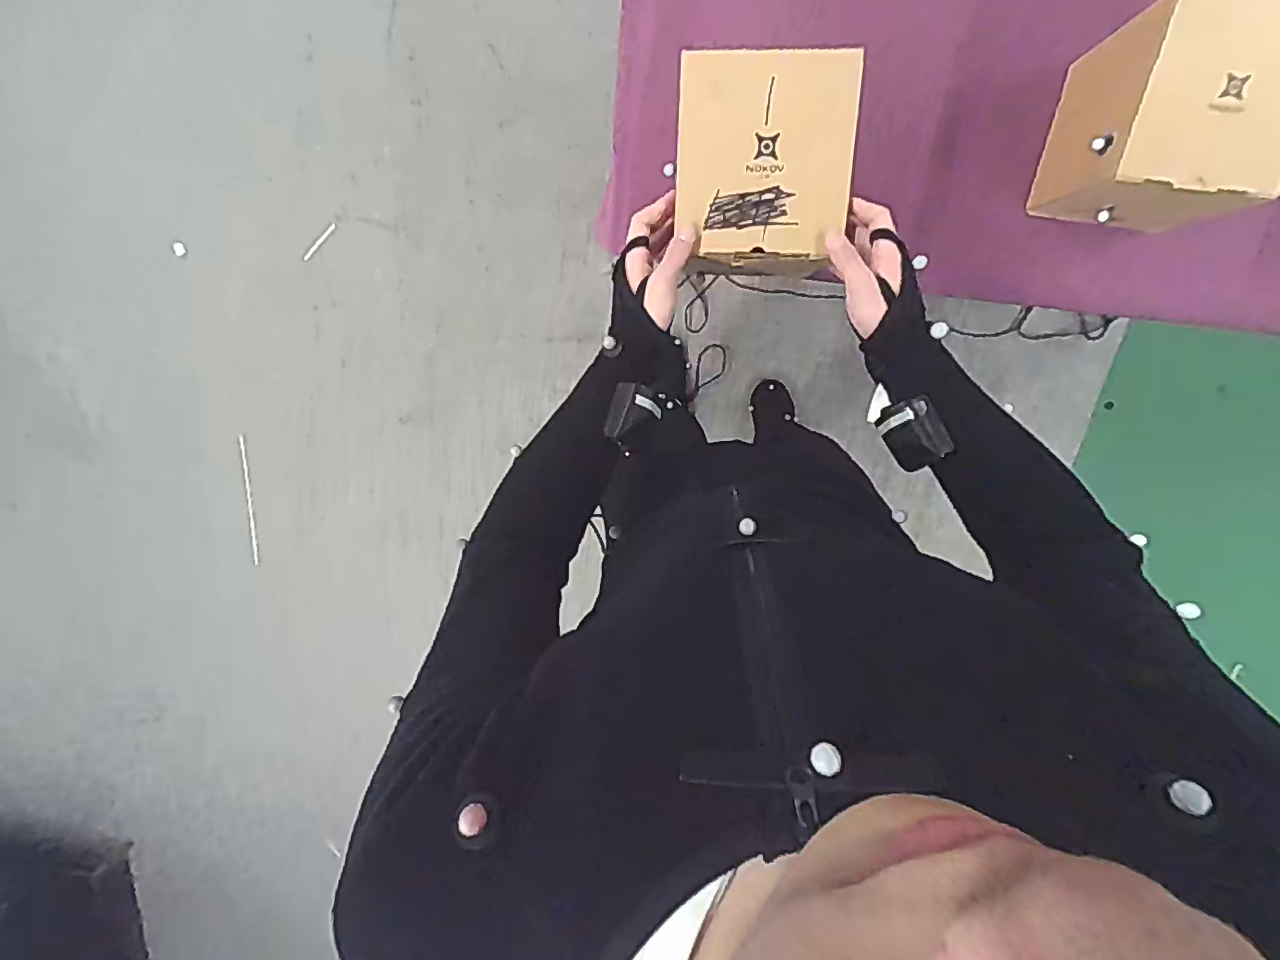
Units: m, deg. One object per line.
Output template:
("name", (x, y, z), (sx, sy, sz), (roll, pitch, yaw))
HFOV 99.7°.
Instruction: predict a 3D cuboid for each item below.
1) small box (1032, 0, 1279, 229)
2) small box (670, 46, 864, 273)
("small box", (0.598, -0.405, 0.617), (0.168, 0.176, 0.179), (10, 107, 4))
("small box", (0.122, -0.326, 0.585), (0.168, 0.176, 0.179), (3, 104, 4))
